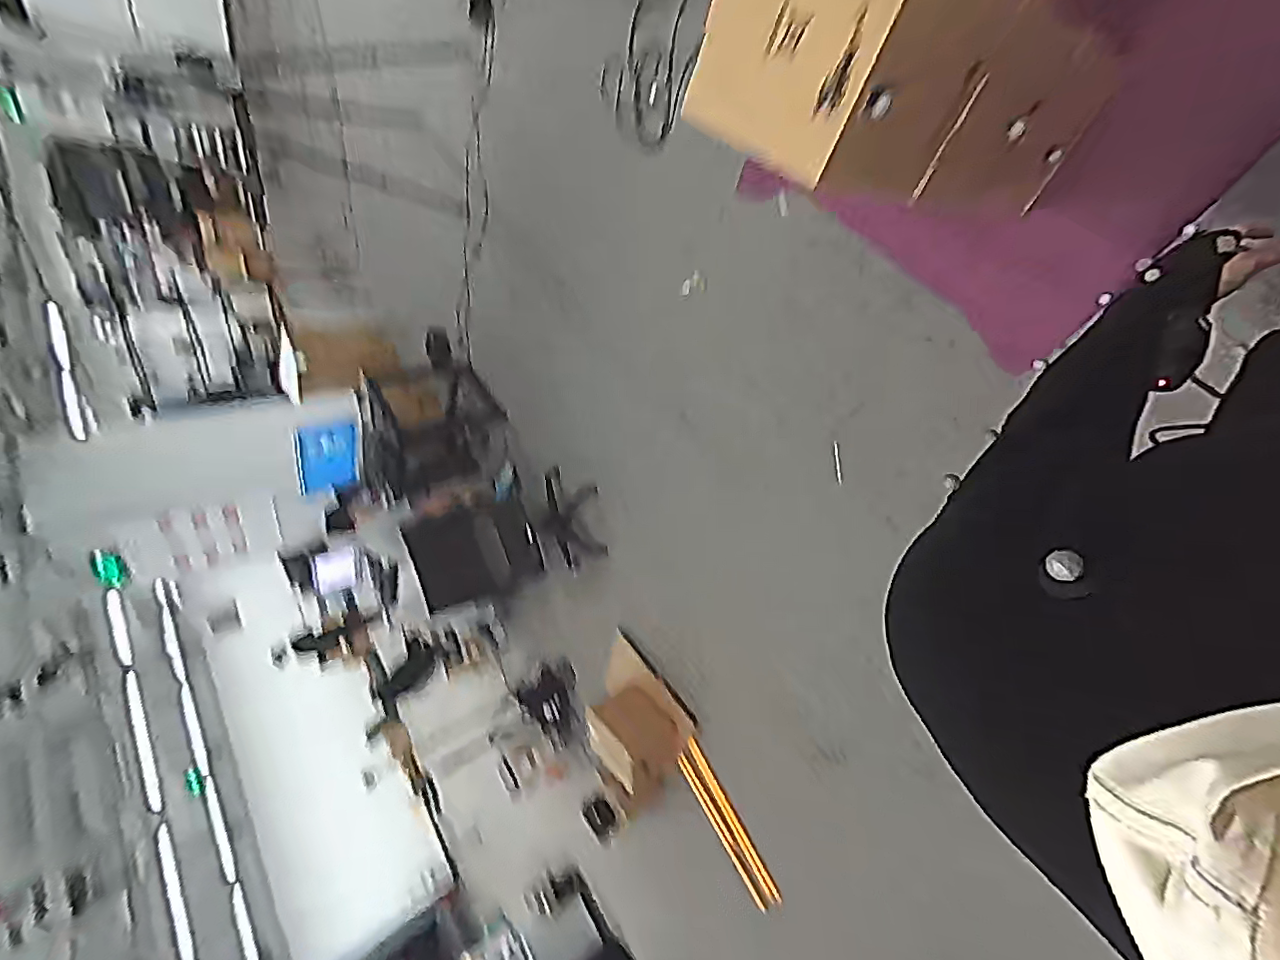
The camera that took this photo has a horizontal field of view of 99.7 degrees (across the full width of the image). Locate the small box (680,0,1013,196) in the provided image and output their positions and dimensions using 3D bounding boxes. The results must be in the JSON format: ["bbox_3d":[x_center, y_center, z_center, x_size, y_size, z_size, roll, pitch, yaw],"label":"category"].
[{"bbox_3d":[0.172,-0.369,0.476,0.179,0.176,0.168,49,137,29],"label":"small box"}]

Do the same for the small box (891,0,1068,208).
[{"bbox_3d":[0.297,-0.406,0.576,0.179,0.176,0.168,46,135,29],"label":"small box"}]
